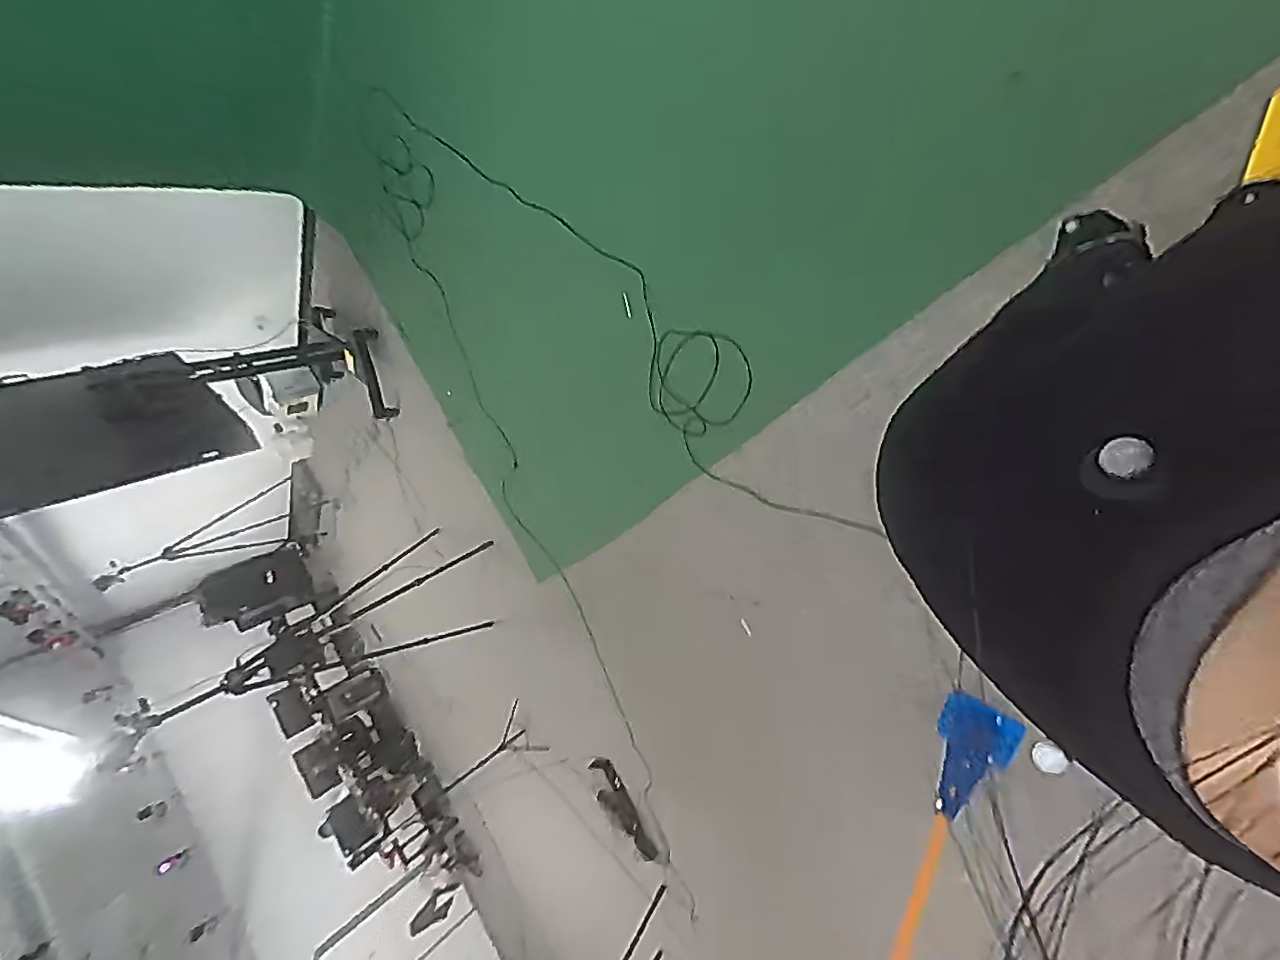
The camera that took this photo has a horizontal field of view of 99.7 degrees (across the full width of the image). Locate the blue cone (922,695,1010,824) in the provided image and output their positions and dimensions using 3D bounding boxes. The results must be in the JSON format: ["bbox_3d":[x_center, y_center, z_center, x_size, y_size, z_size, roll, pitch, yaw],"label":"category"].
[{"bbox_3d":[0.884,0.815,1.521,0.192,0.380,0.193,22,126,36],"label":"blue cone"}]
